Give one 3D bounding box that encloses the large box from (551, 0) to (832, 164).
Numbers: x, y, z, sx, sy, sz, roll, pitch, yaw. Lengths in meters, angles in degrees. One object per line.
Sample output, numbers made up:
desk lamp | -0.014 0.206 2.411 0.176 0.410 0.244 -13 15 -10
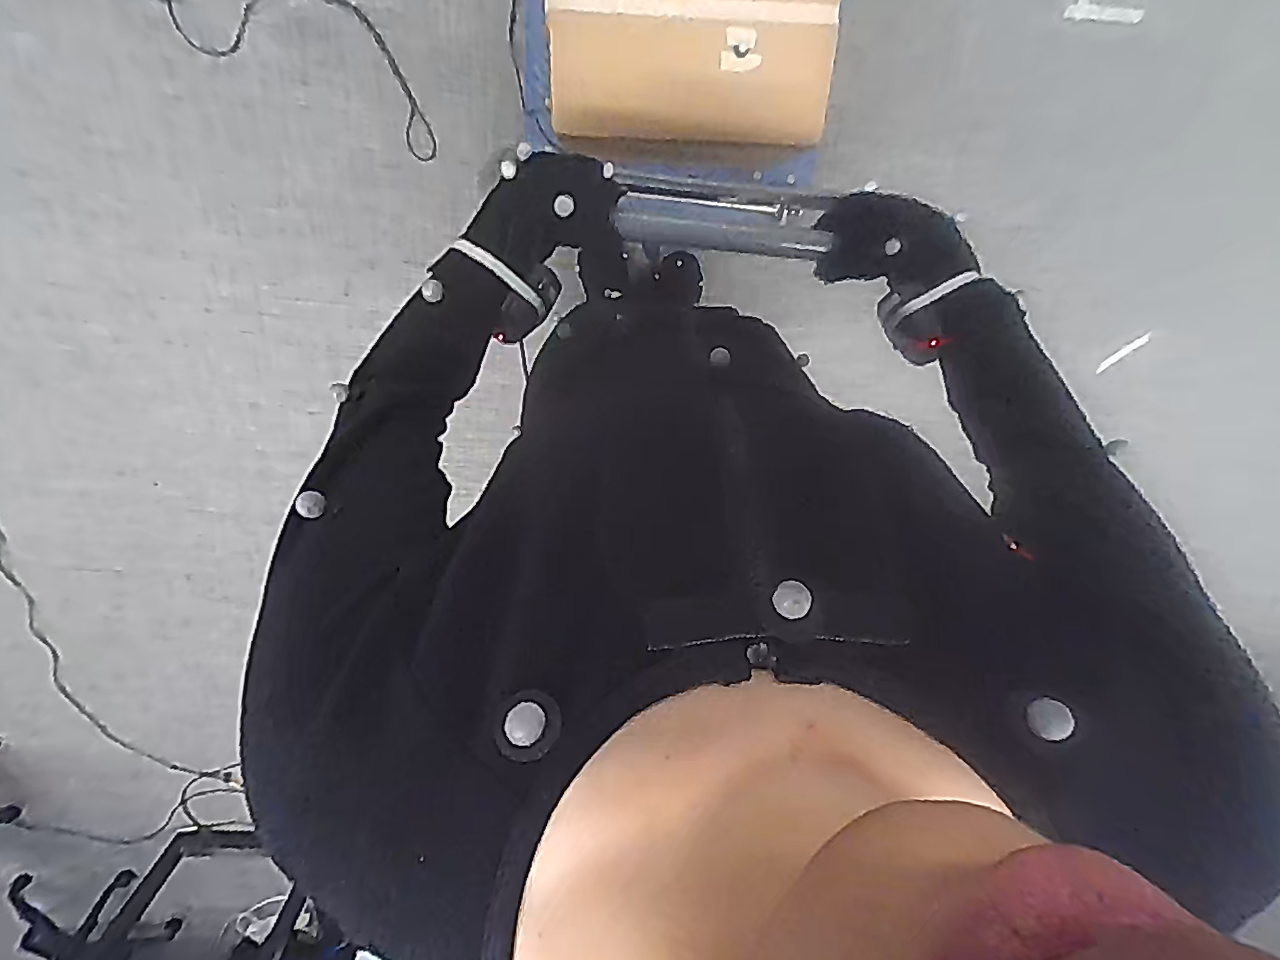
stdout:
large box | 0.063 -0.721 0.894 0.408 0.320 0.320 0 115 -4
